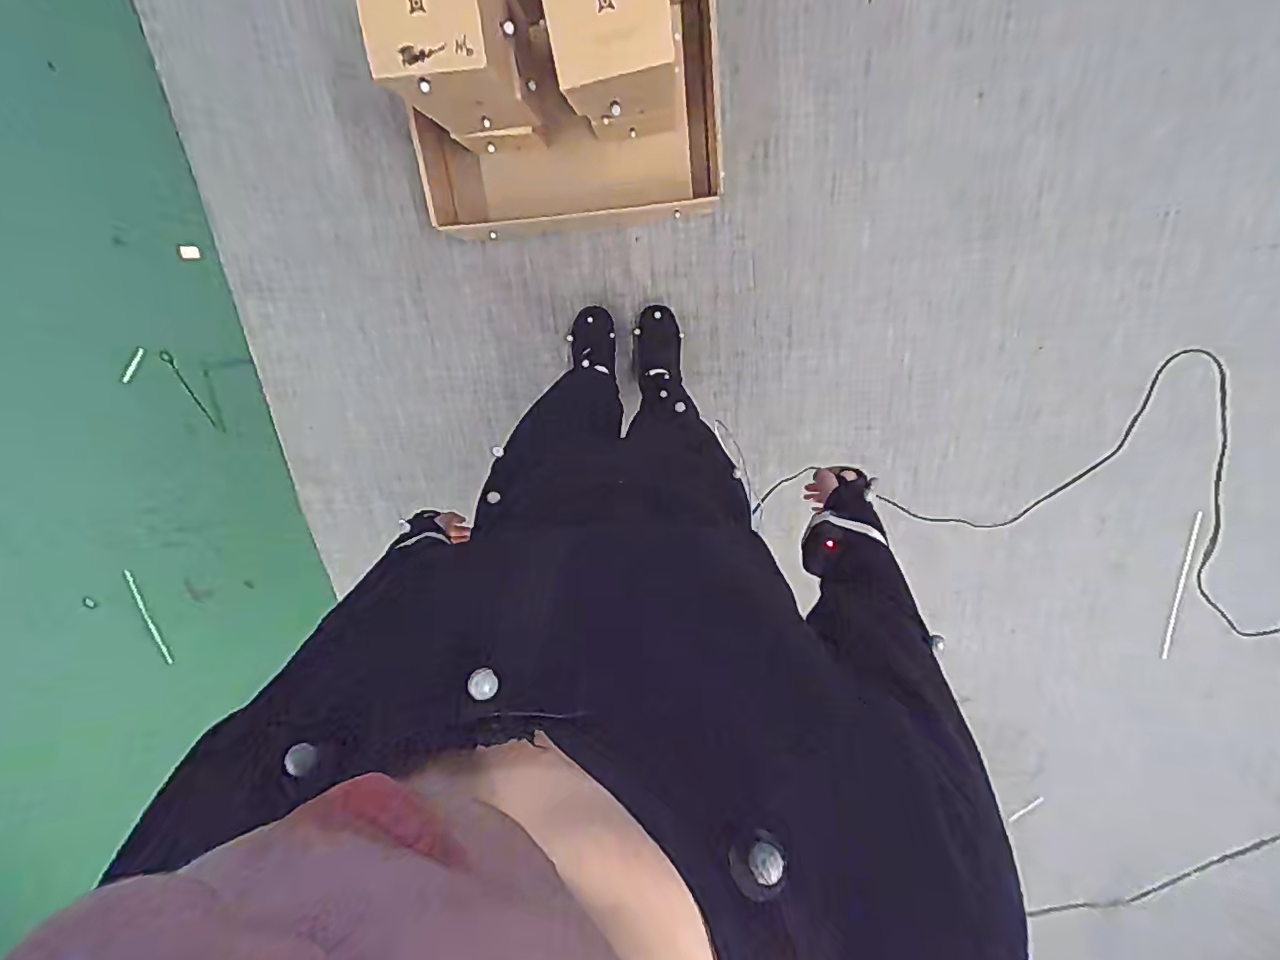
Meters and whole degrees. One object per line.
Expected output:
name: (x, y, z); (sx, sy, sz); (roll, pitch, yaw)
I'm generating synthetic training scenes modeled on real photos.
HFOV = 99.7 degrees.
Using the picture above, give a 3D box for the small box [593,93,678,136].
small box: (-0.010, -0.804, 1.078); (0.168, 0.176, 0.179); (-4, 111, 5)

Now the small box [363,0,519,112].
small box: (-0.285, -0.670, 0.792); (0.168, 0.176, 0.179); (-2, 110, 4)

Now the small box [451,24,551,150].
small box: (-0.282, -0.786, 1.100); (0.168, 0.176, 0.179); (-1, 111, 2)

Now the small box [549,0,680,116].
small box: (-0.035, -0.662, 0.783); (0.168, 0.176, 0.179); (-8, 112, 7)
